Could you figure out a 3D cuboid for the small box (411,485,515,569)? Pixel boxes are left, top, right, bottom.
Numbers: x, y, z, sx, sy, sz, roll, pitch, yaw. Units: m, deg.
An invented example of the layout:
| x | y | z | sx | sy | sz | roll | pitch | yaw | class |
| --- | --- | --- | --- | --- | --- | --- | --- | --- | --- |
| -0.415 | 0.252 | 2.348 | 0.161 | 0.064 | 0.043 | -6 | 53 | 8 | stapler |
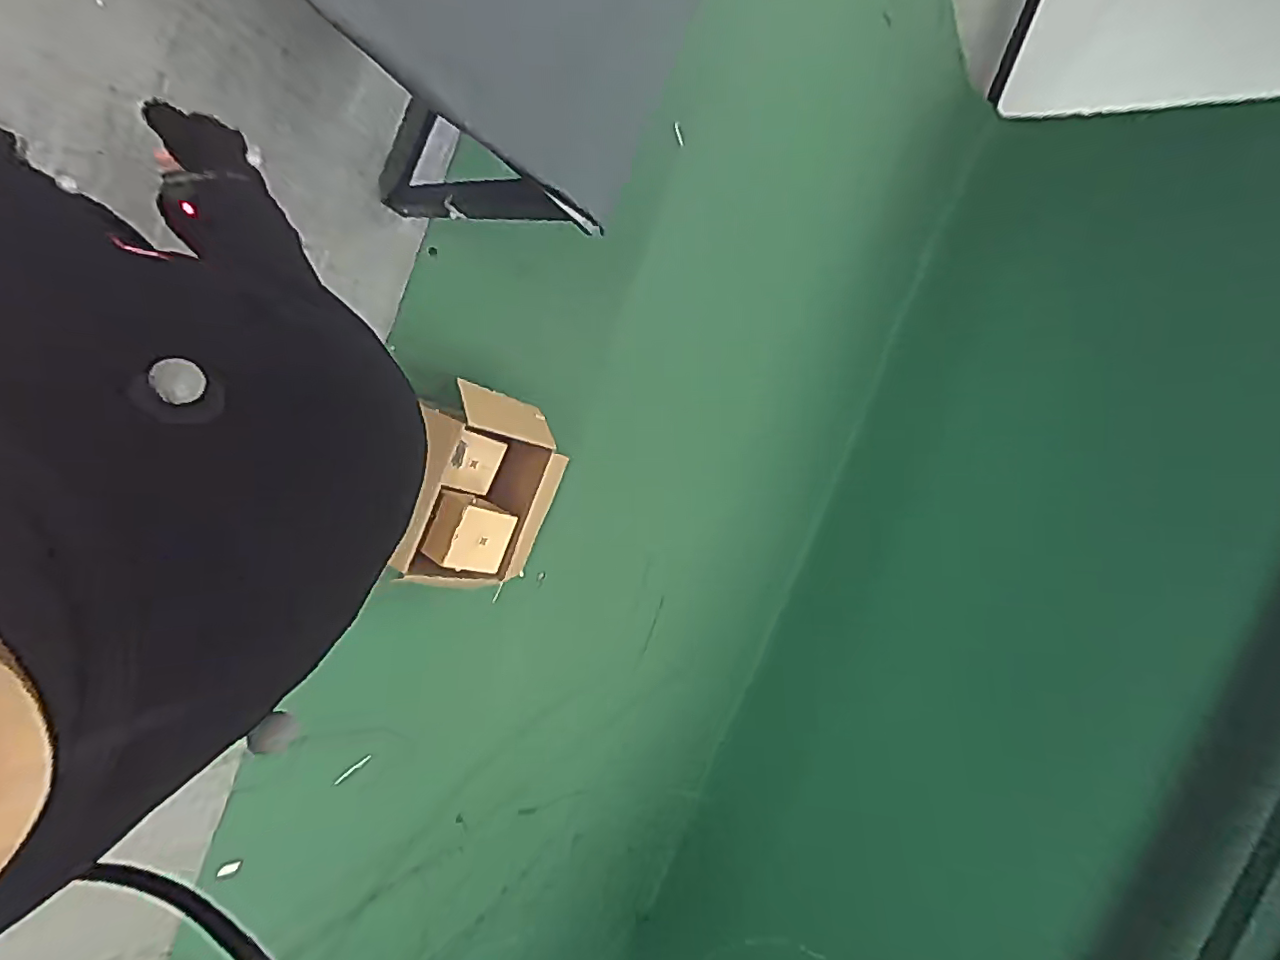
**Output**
| x | y | z | sx | sy | sz | roll | pitch | yaw | class |
| --- | --- | --- | --- | --- | --- | --- | --- | --- | --- |
| -0.477 | 0.125 | 1.457 | 0.179 | 0.176 | 0.168 | 23 | 88 | -53 | small box |
